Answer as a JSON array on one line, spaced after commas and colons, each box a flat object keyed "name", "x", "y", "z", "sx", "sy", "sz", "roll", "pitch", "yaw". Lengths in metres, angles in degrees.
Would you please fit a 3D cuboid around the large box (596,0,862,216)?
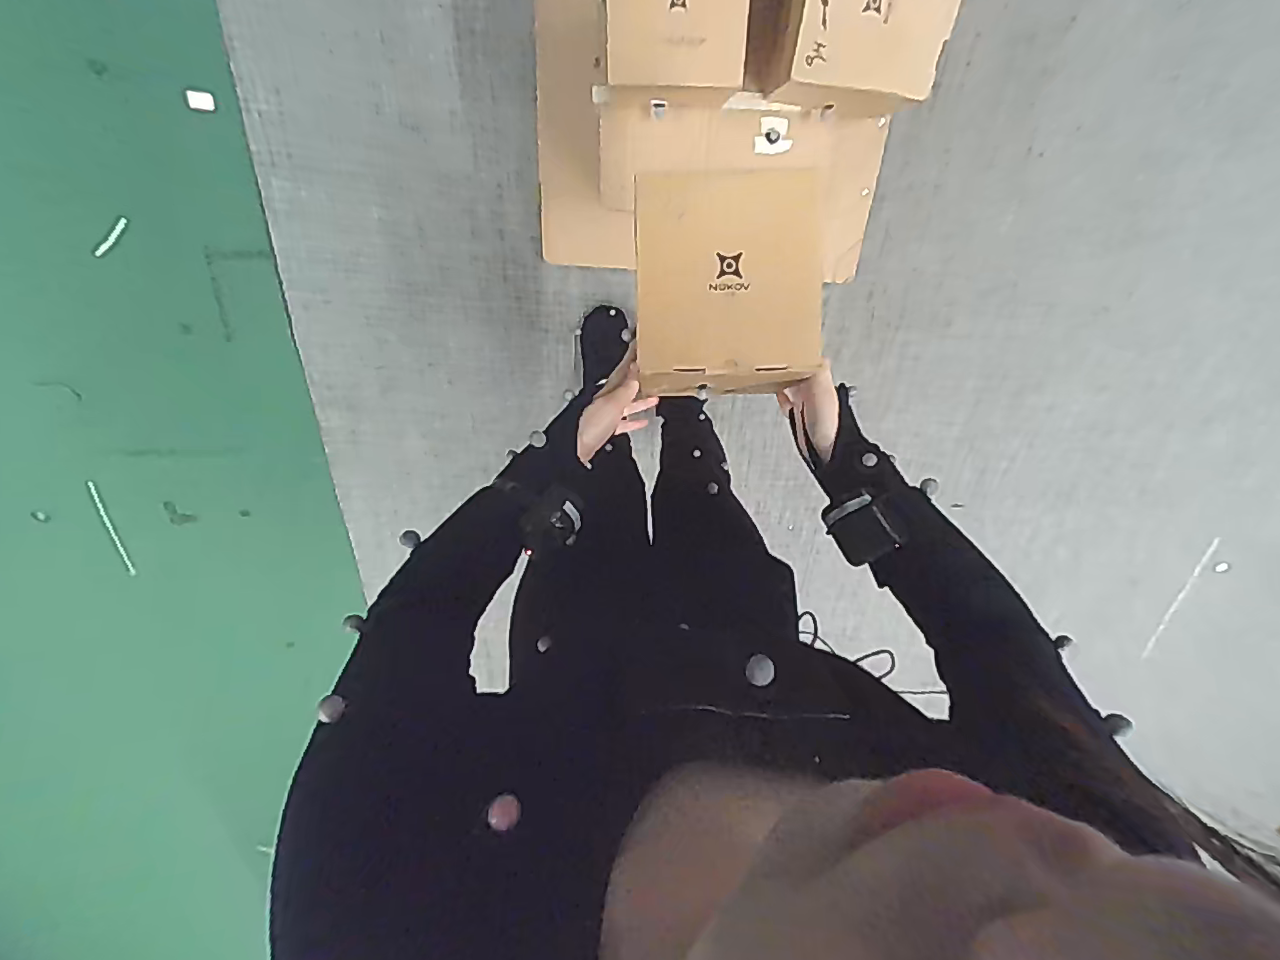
[{"name": "large box", "x": 0.133, "y": -0.634, "z": 0.934, "sx": 0.408, "sy": 0.320, "sz": 0.320, "roll": 0, "pitch": 118, "yaw": -2}]

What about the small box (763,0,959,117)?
[{"name": "small box", "x": 0.274, "y": -0.578, "z": 0.688, "sx": 0.179, "sy": 0.176, "sz": 0.168, "roll": 6, "pitch": 117, "yaw": -4}]

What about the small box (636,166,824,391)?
[{"name": "small box", "x": 0.079, "y": -0.191, "z": 0.557, "sx": 0.168, "sy": 0.176, "sz": 0.179, "roll": -1, "pitch": 93, "yaw": 0}]

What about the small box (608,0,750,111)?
[{"name": "small box", "x": 0.043, "y": -0.586, "z": 0.684, "sx": 0.168, "sy": 0.176, "sz": 0.179, "roll": 0, "pitch": 117, "yaw": 0}]
